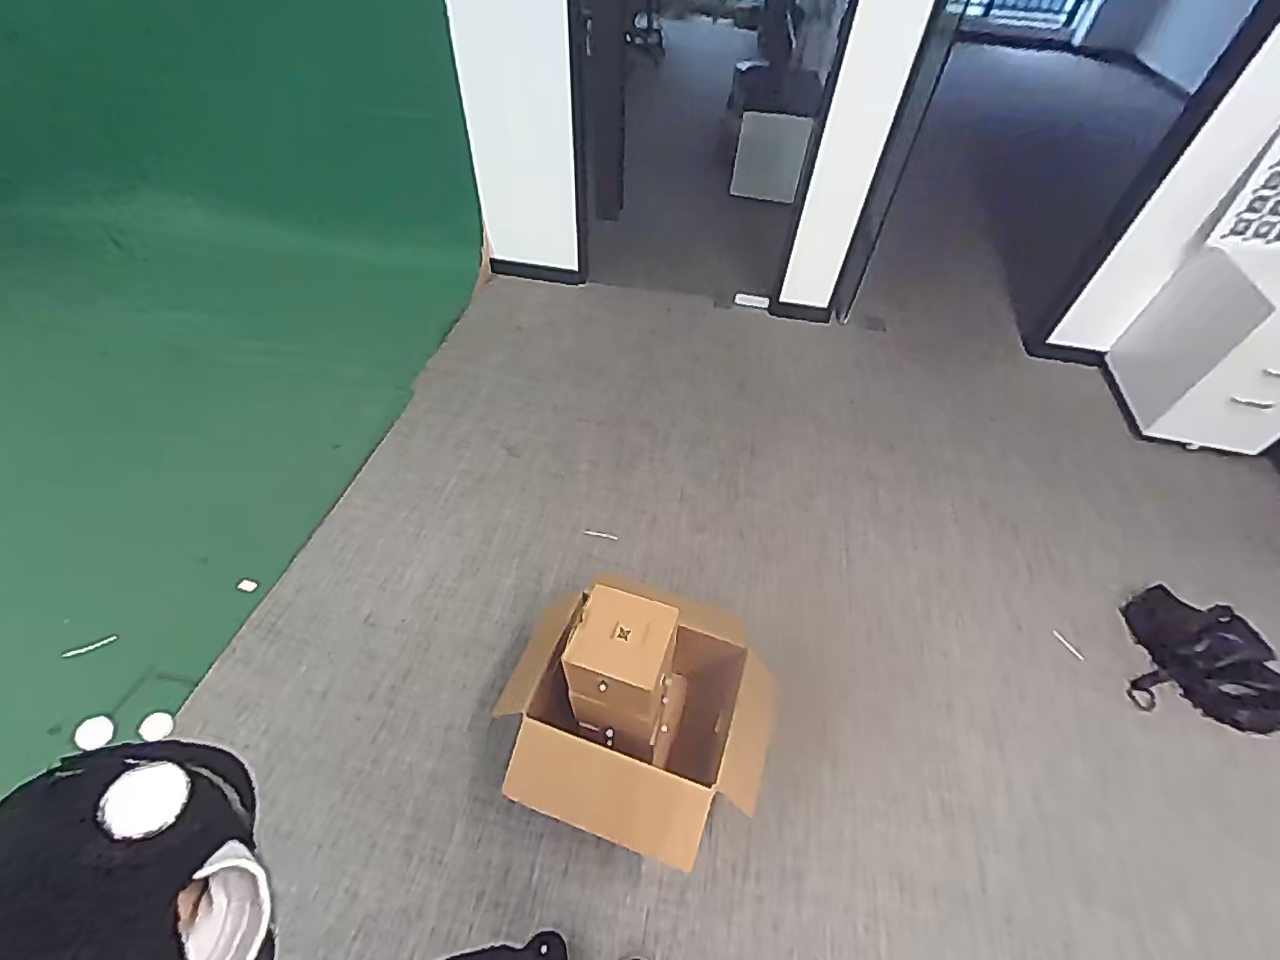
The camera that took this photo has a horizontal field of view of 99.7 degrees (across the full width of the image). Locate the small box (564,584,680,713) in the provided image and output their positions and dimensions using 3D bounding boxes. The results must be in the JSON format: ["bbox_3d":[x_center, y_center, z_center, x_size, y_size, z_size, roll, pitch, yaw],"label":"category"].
[{"bbox_3d":[-0.031,0.335,1.063,0.179,0.176,0.168,14,52,11],"label":"small box"}]
